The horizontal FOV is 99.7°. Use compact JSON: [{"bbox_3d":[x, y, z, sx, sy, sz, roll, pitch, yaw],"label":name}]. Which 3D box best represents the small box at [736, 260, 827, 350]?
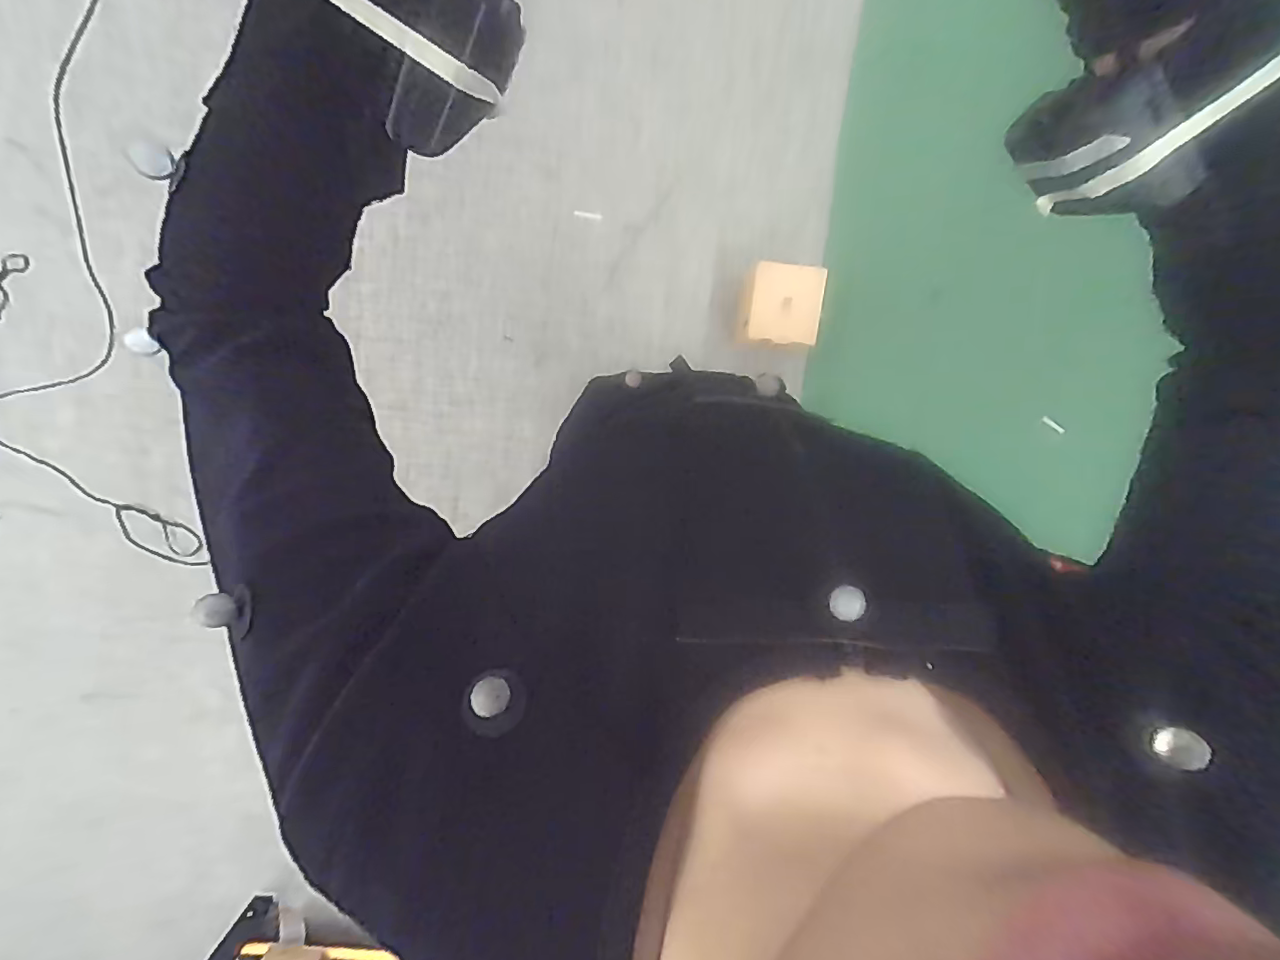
[{"bbox_3d":[0.339,-0.421,1.328,0.168,0.176,0.179,6,100,-1],"label":"small box"}]
